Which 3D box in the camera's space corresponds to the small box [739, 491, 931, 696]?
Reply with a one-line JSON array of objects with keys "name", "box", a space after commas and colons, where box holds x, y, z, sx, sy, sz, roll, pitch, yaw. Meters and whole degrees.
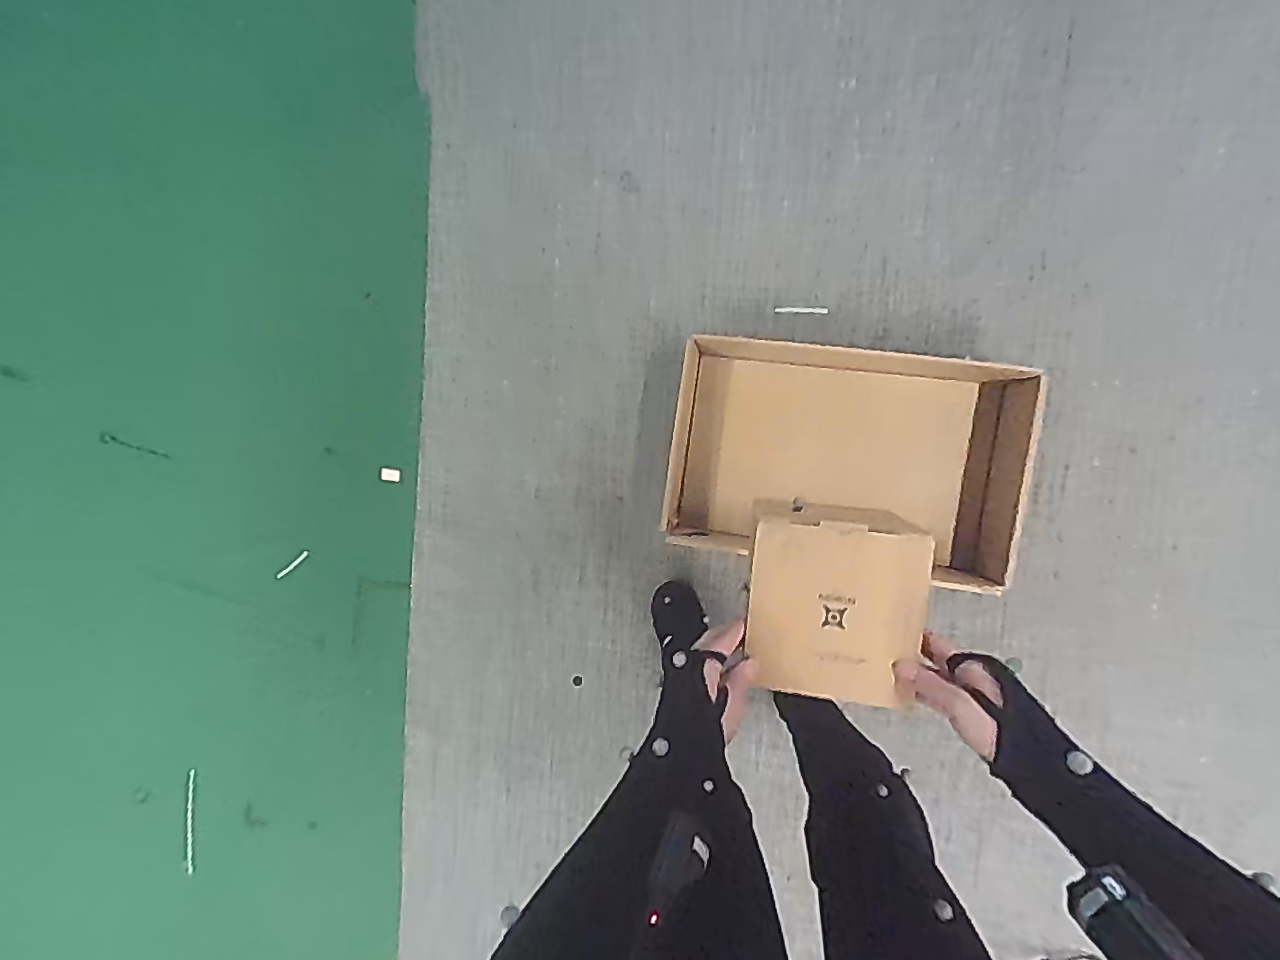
[{"name": "small box", "box": [0.202, 0.110, 0.607, 0.168, 0.176, 0.179, 6, 96, 11]}]
